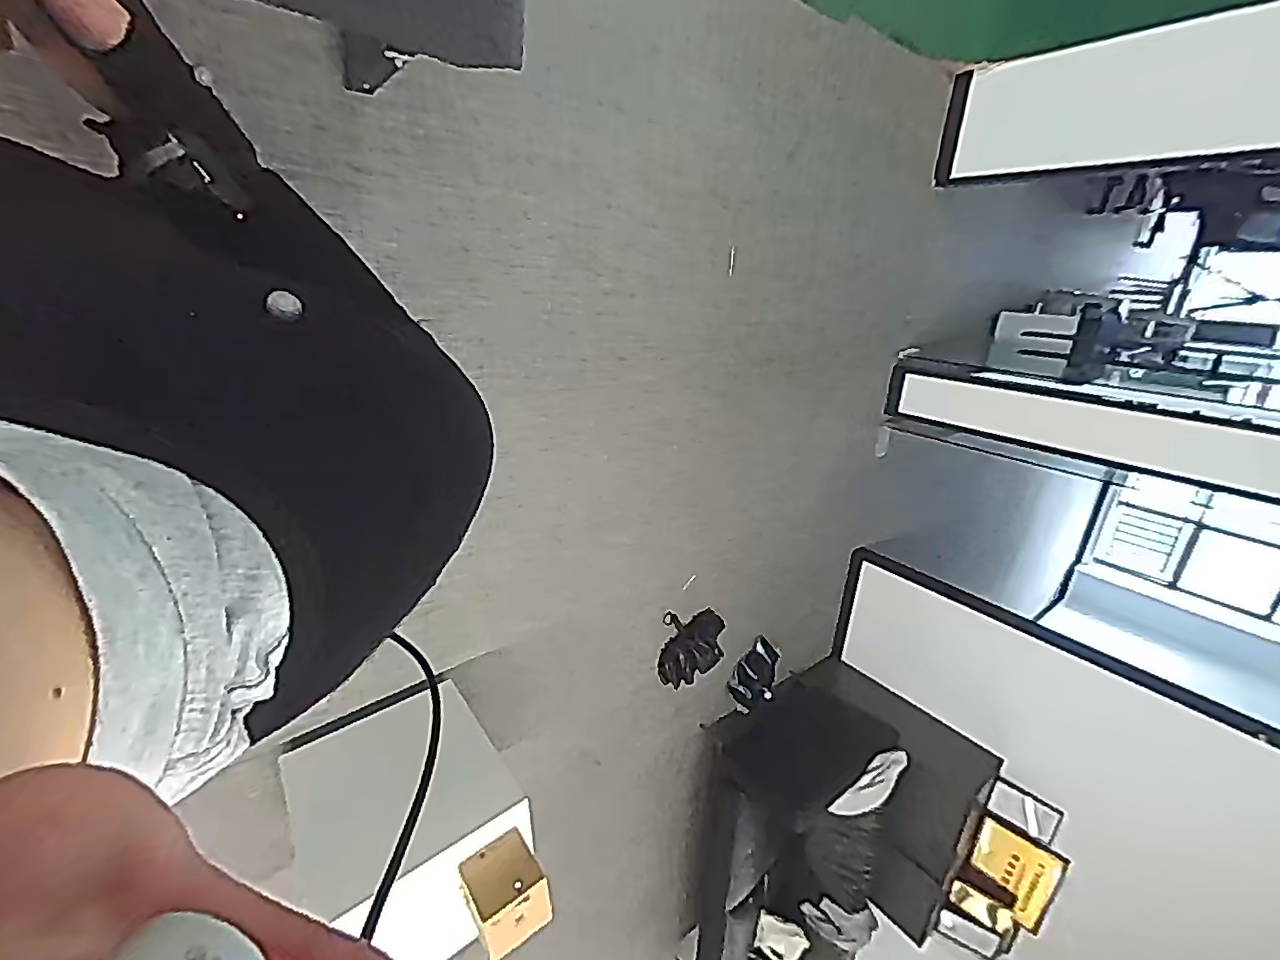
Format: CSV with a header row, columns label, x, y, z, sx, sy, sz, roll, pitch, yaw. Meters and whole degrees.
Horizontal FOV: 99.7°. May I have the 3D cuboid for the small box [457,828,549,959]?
label,x,y,z,sx,sy,sz,roll,pitch,yaw
small box,-0.346,1.037,1.368,0.168,0.176,0.179,-18,121,-33
